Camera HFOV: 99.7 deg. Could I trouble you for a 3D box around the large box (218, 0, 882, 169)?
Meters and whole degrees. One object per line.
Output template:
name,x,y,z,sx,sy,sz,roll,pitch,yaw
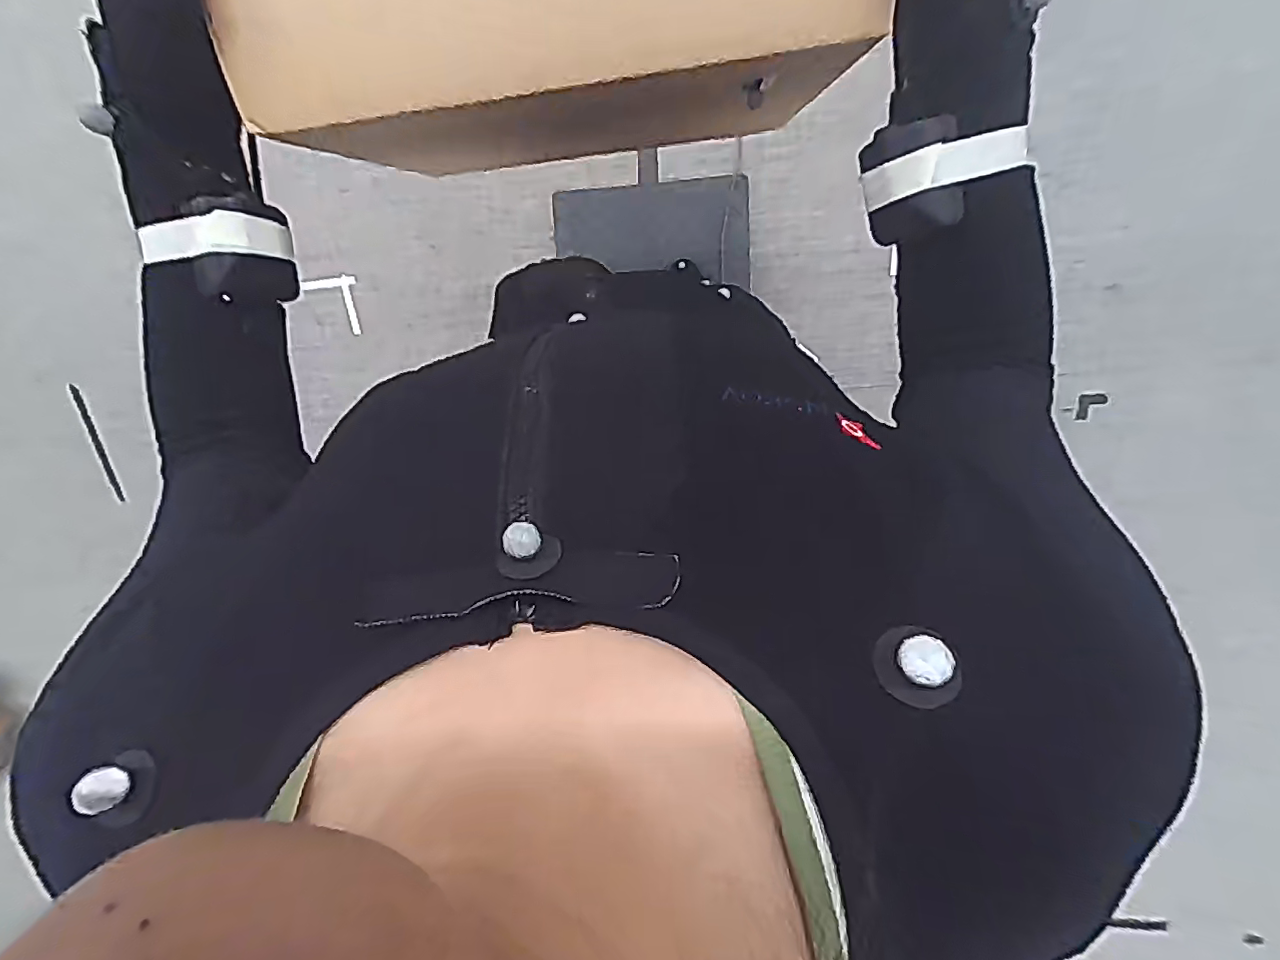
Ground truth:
large box,-0.065,-0.449,0.413,0.408,0.320,0.320,-6,114,4

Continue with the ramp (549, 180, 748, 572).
ramp,0.030,-0.240,1.433,0.509,0.206,0.991,-3,109,7
